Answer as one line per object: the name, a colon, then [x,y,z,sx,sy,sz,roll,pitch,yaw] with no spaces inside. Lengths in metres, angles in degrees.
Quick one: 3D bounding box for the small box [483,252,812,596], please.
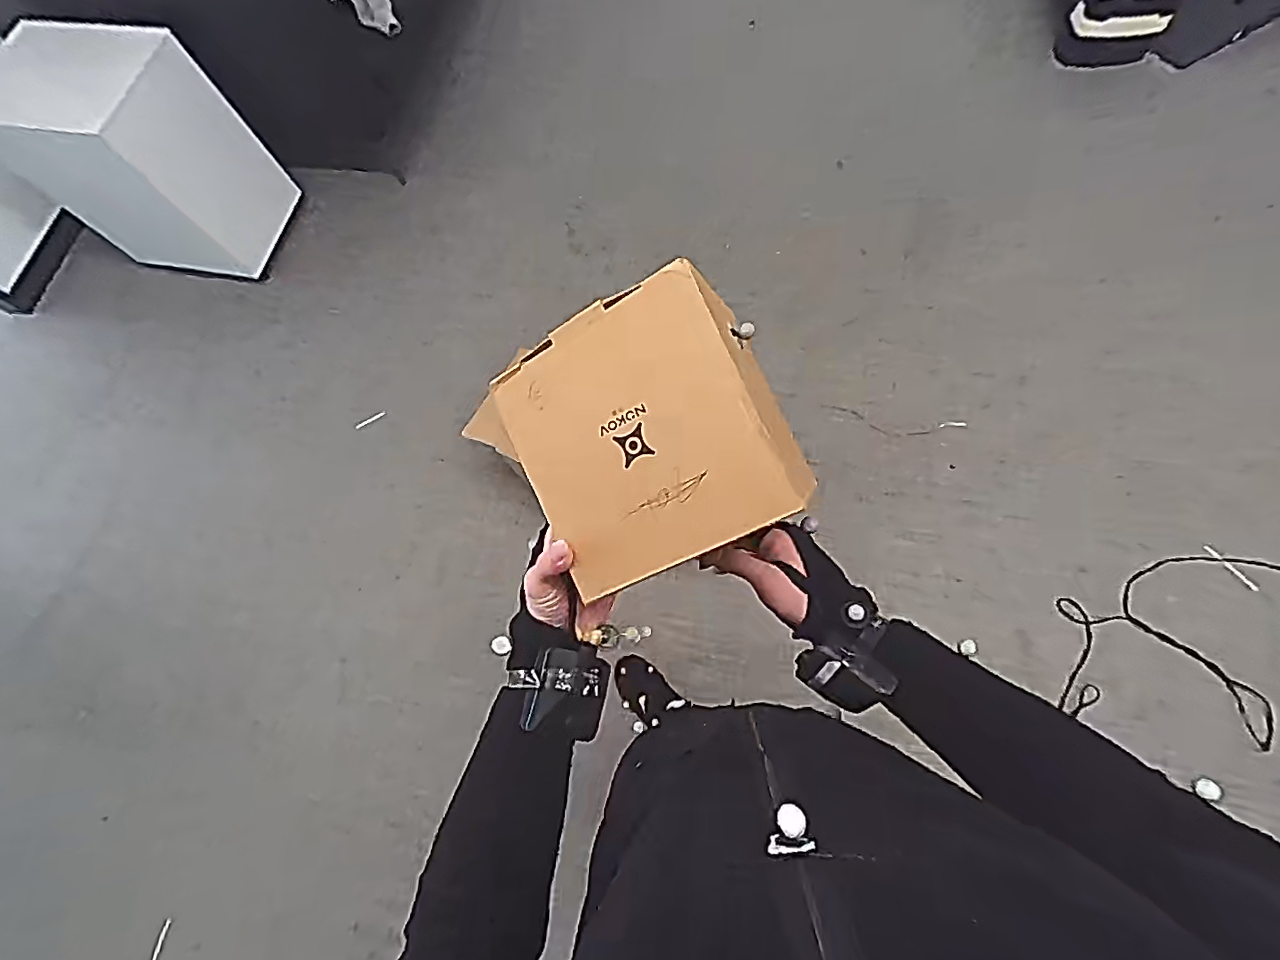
small box: [0.018,-0.033,0.418,0.168,0.176,0.179,-25,83,23]
